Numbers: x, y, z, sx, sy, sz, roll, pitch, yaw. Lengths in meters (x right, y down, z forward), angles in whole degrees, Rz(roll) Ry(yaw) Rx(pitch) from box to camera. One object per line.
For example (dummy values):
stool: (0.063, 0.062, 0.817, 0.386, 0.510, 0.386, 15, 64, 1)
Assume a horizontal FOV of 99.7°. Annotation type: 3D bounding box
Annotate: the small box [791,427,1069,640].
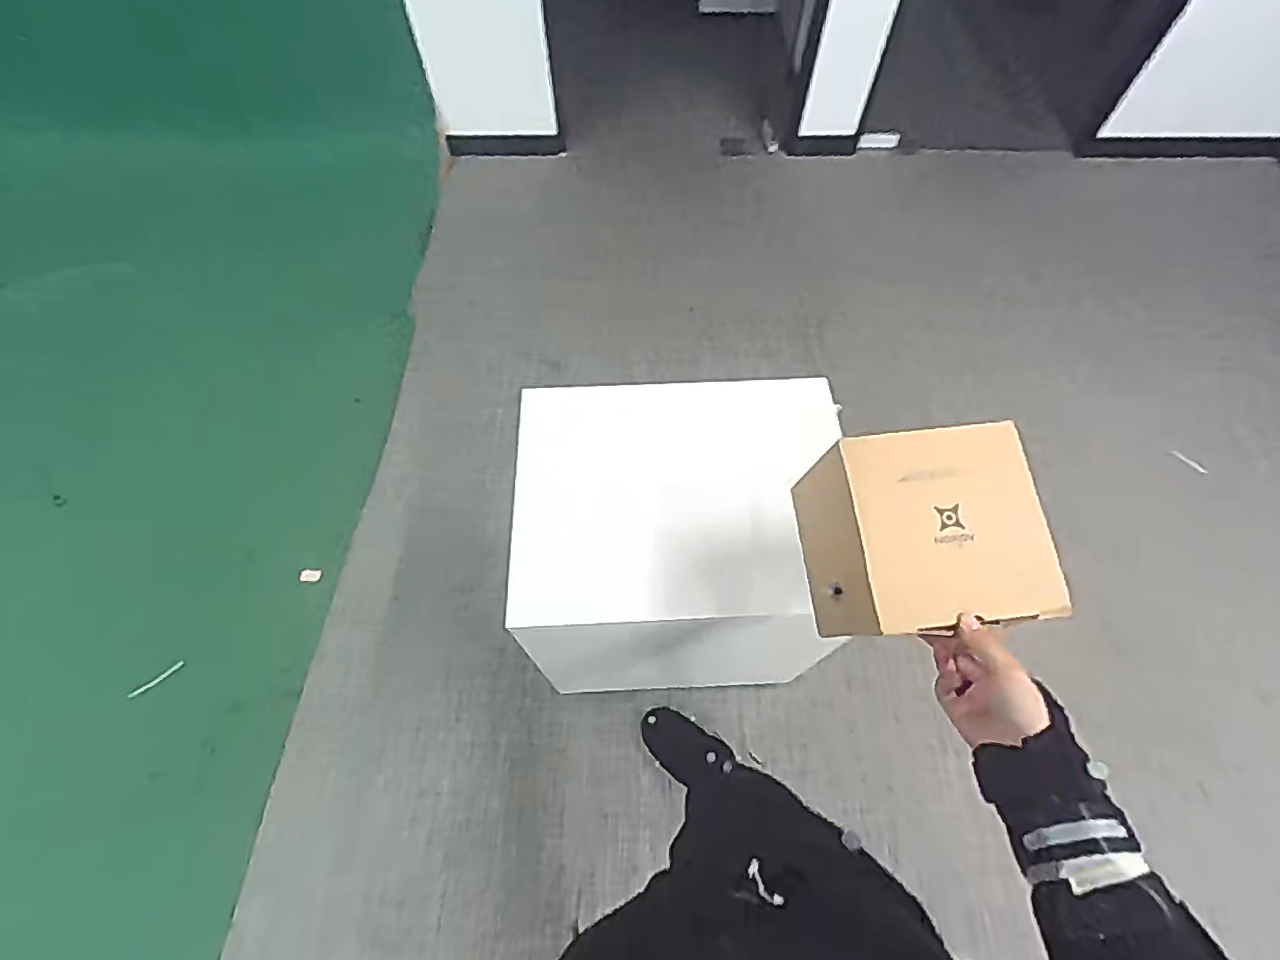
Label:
small box: (0.267, 0.064, 0.547, 0.168, 0.176, 0.179, -6, 72, -3)
